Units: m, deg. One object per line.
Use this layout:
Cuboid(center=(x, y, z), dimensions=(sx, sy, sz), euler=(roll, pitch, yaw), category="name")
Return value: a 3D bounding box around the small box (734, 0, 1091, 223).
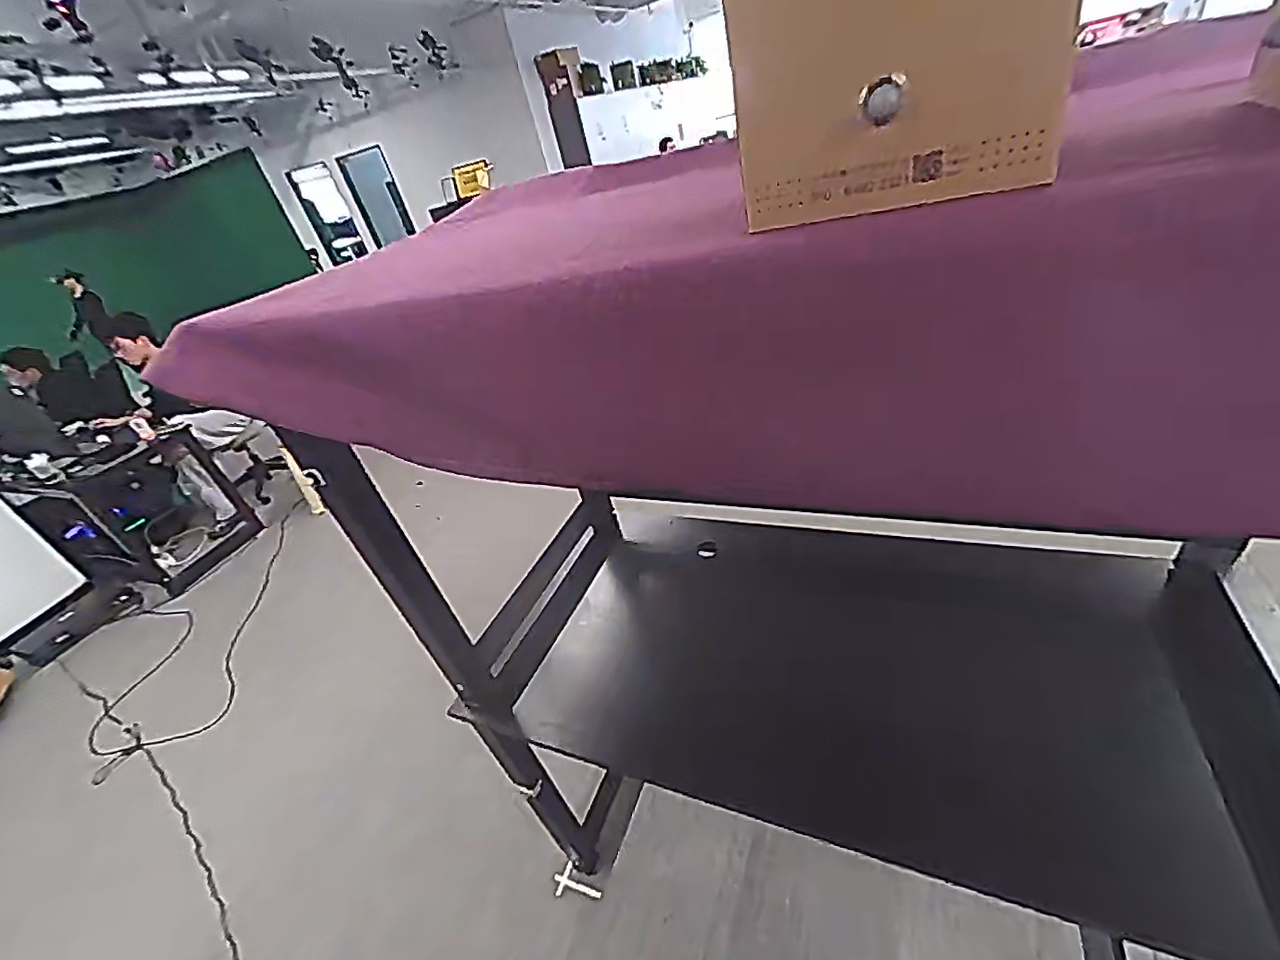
Cuboid(center=(0.157, -0.272, 0.333), dimensions=(0.168, 0.176, 0.179), euler=(1, 36, 25), category="small box")
